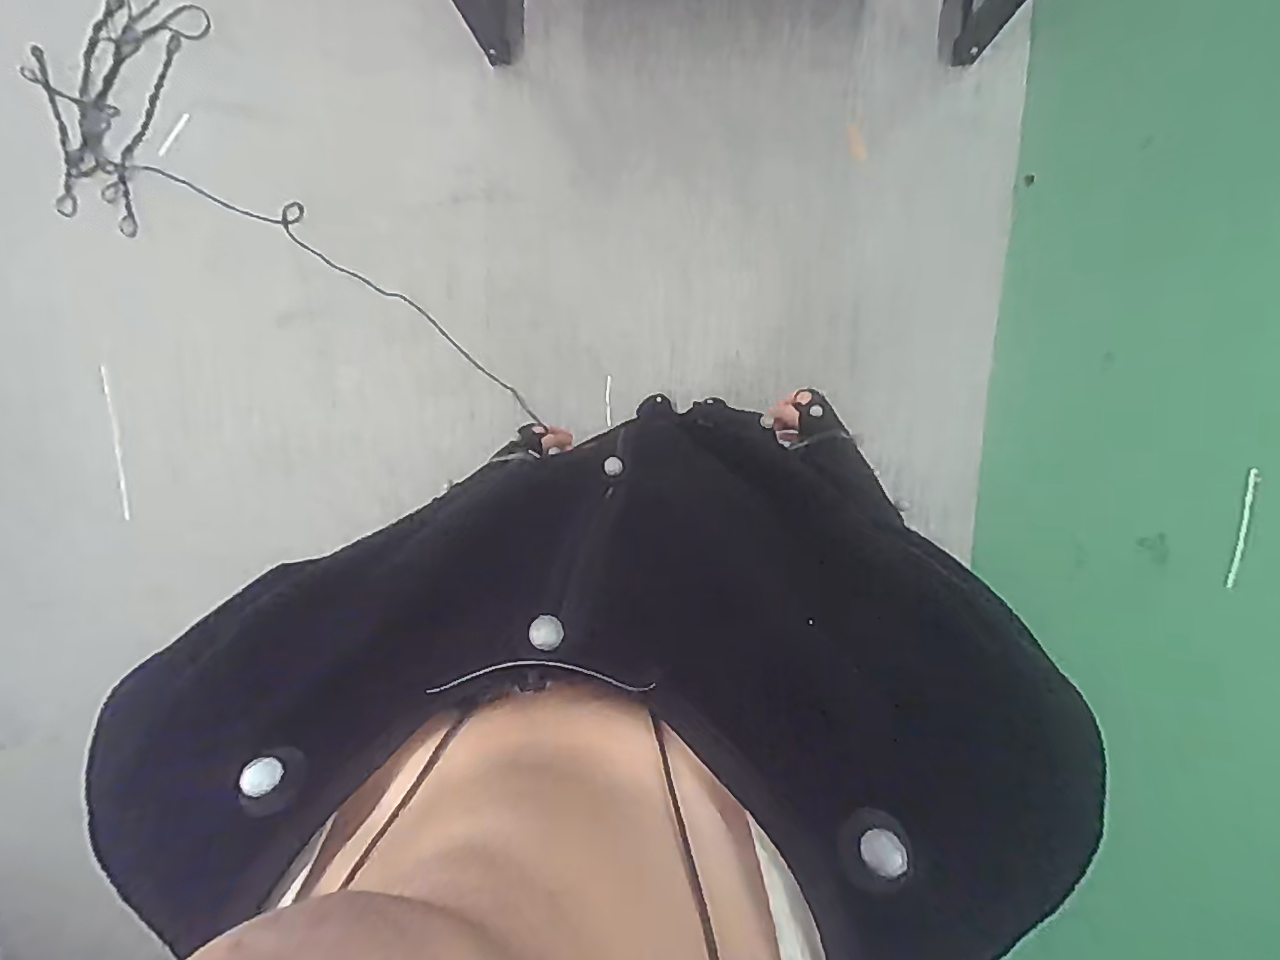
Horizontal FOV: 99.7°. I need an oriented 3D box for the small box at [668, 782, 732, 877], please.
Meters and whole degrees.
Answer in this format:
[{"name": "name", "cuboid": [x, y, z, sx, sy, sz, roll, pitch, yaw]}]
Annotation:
[{"name": "small box", "cuboid": [0.166, 1.005, 1.551, 0.168, 0.176, 0.179, 7, 99, 5]}]
